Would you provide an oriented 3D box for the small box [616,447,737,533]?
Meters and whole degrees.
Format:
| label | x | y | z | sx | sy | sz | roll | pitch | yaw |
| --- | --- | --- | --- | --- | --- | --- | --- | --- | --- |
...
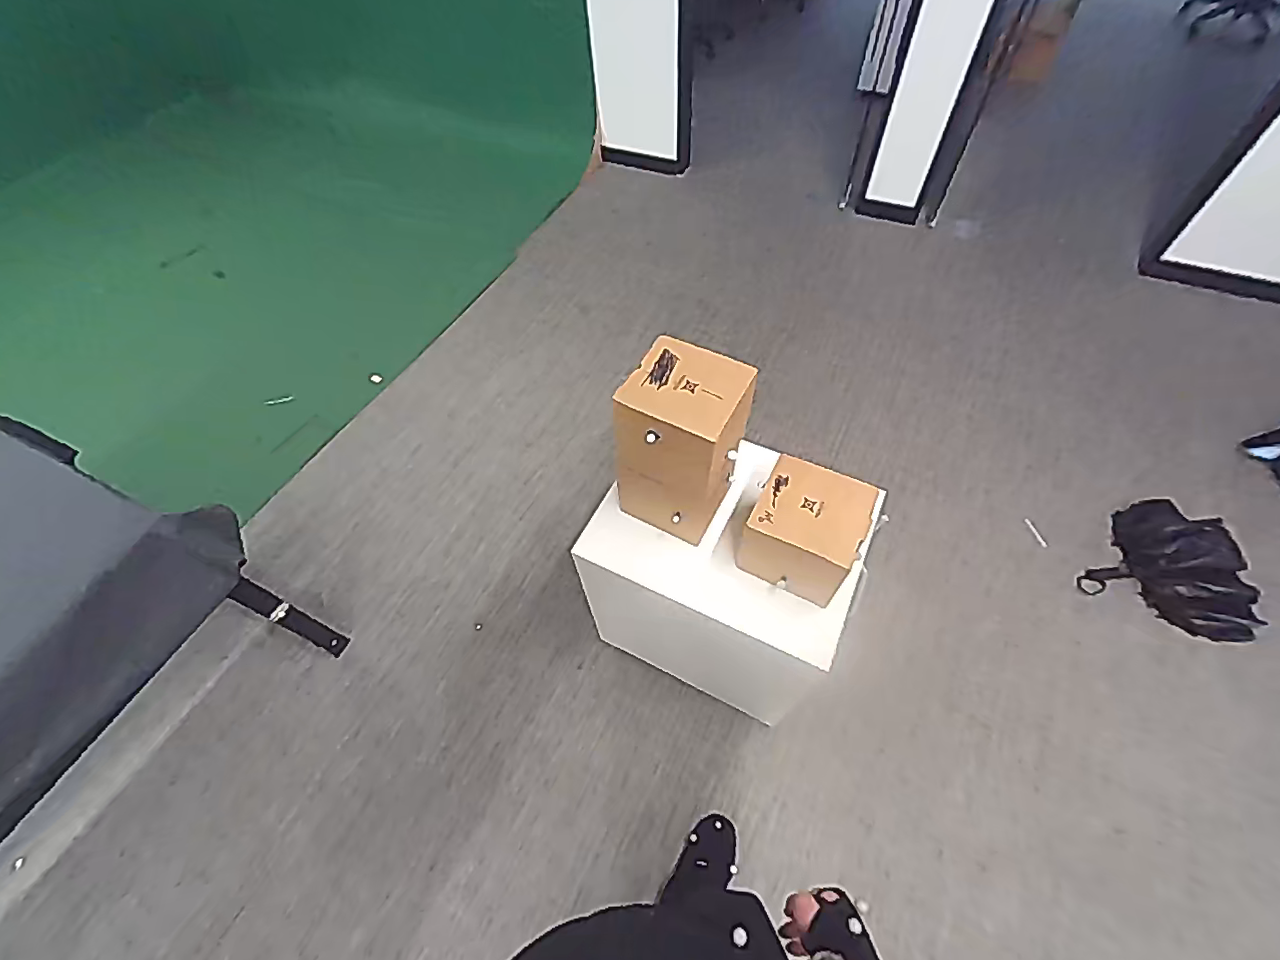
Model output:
| label | x | y | z | sx | sy | sz | roll | pitch | yaw |
| --- | --- | --- | --- | --- | --- | --- | --- | --- | --- |
| small box | 0.072 | -0.022 | 1.023 | 0.179 | 0.176 | 0.168 | 24 | 60 | 16 |

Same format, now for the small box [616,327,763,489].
| label | x | y | z | sx | sy | sz | roll | pitch | yaw |
| --- | --- | --- | --- | --- | --- | --- | --- | --- | --- |
| small box | 0.076 | -0.112 | 0.885 | 0.179 | 0.176 | 0.168 | 26 | 61 | 15 |

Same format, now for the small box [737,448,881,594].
| label | x | y | z | sx | sy | sz | roll | pitch | yaw |
| --- | --- | --- | --- | --- | --- | --- | --- | --- | --- |
| small box | 0.288 | 0.080 | 0.950 | 0.179 | 0.176 | 0.168 | 25 | 62 | 16 |
